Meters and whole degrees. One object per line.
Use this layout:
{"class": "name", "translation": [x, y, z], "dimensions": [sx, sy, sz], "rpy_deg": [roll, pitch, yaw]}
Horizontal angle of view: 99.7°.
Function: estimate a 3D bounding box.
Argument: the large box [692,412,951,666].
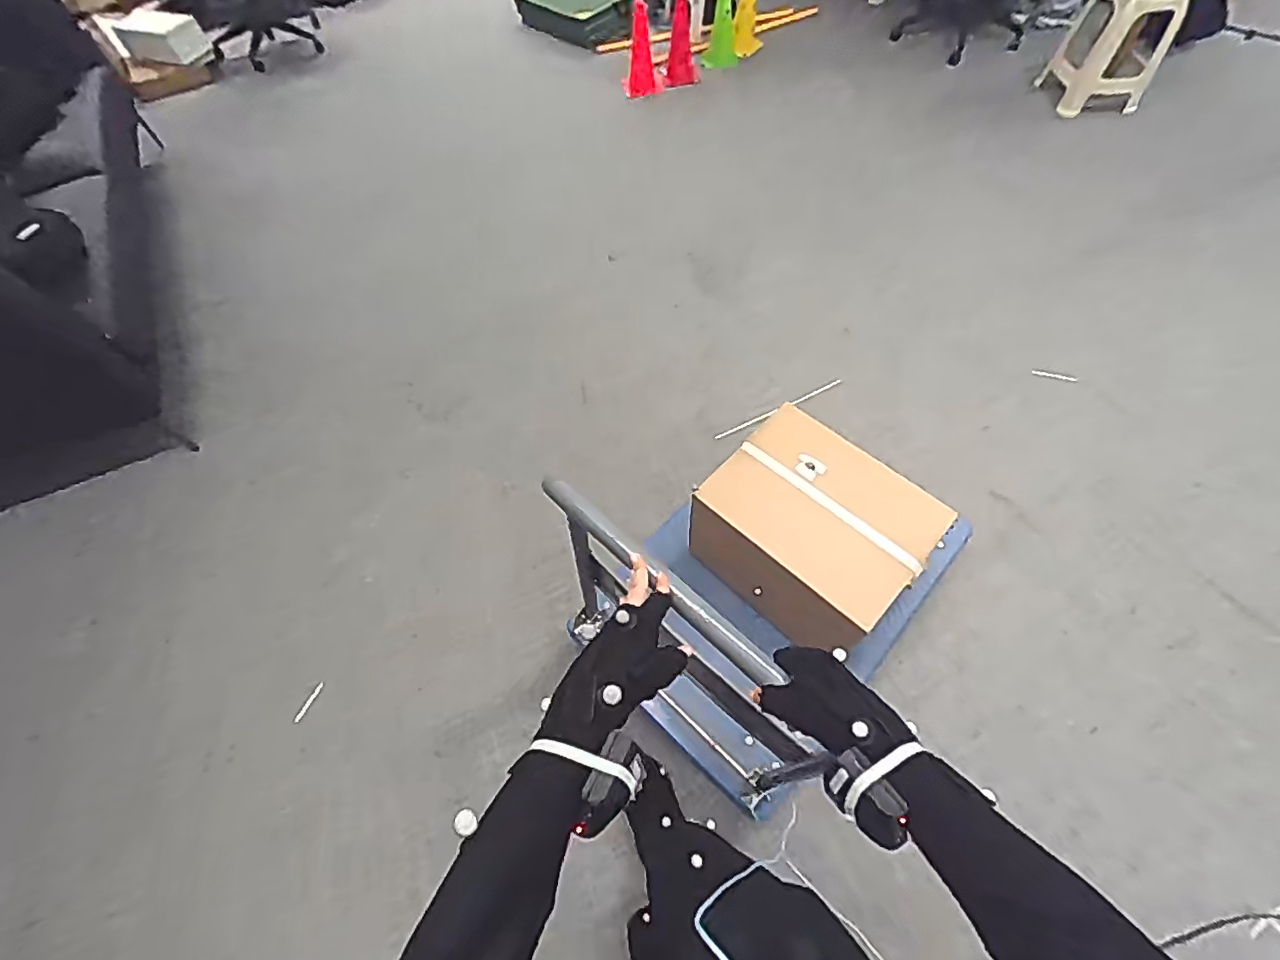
{"class": "large box", "translation": [0.363, 0.132, 1.188], "dimensions": [0.408, 0.320, 0.320], "rpy_deg": [39, 68, 24]}
